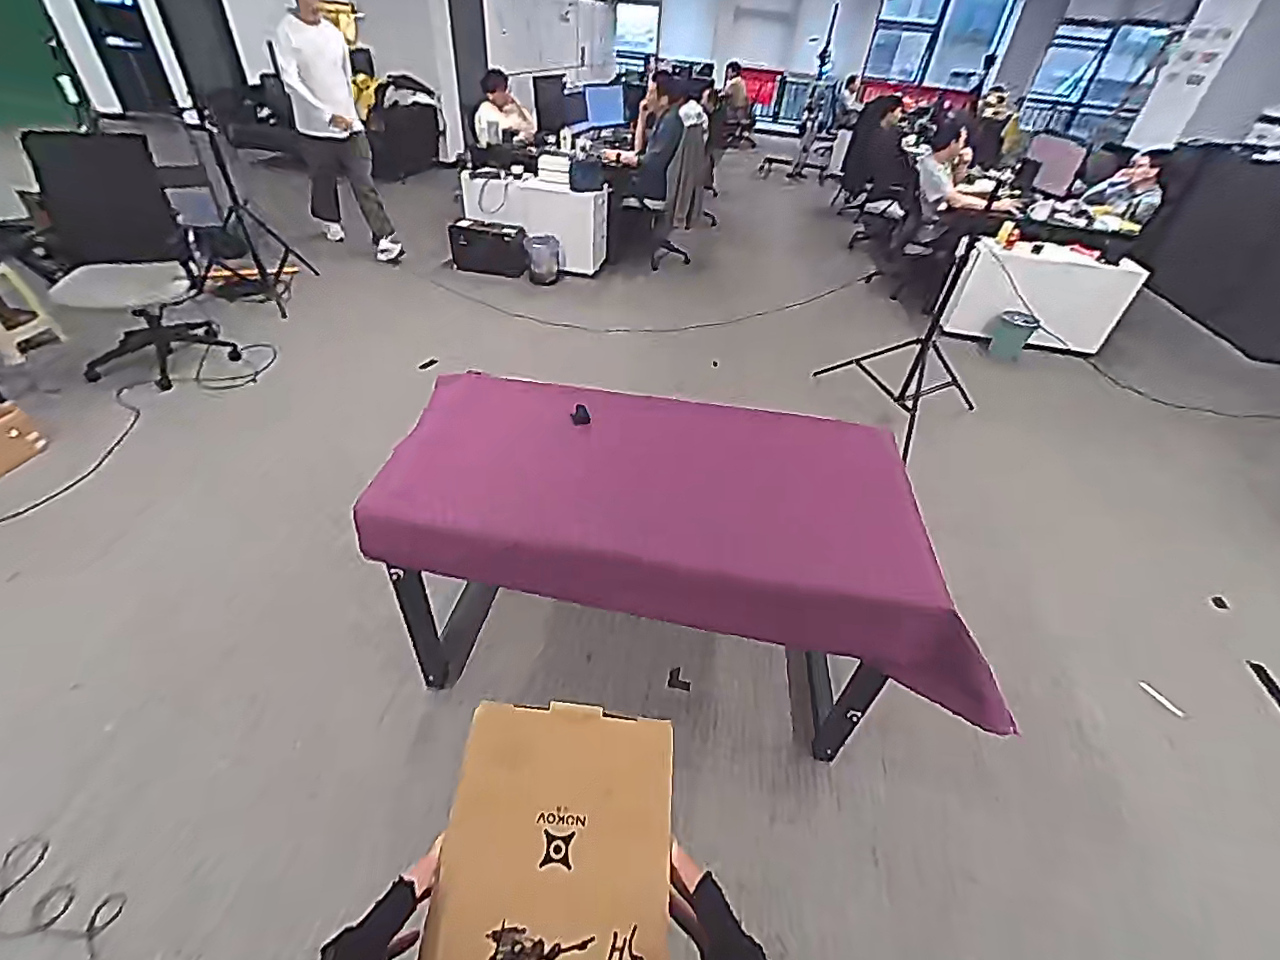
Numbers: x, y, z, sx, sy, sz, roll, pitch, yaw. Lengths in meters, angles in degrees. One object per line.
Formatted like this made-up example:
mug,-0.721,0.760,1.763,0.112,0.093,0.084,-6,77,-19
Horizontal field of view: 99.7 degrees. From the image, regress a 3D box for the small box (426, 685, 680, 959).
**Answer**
small box,-0.064,0.297,0.465,0.168,0.176,0.179,8,53,-4
